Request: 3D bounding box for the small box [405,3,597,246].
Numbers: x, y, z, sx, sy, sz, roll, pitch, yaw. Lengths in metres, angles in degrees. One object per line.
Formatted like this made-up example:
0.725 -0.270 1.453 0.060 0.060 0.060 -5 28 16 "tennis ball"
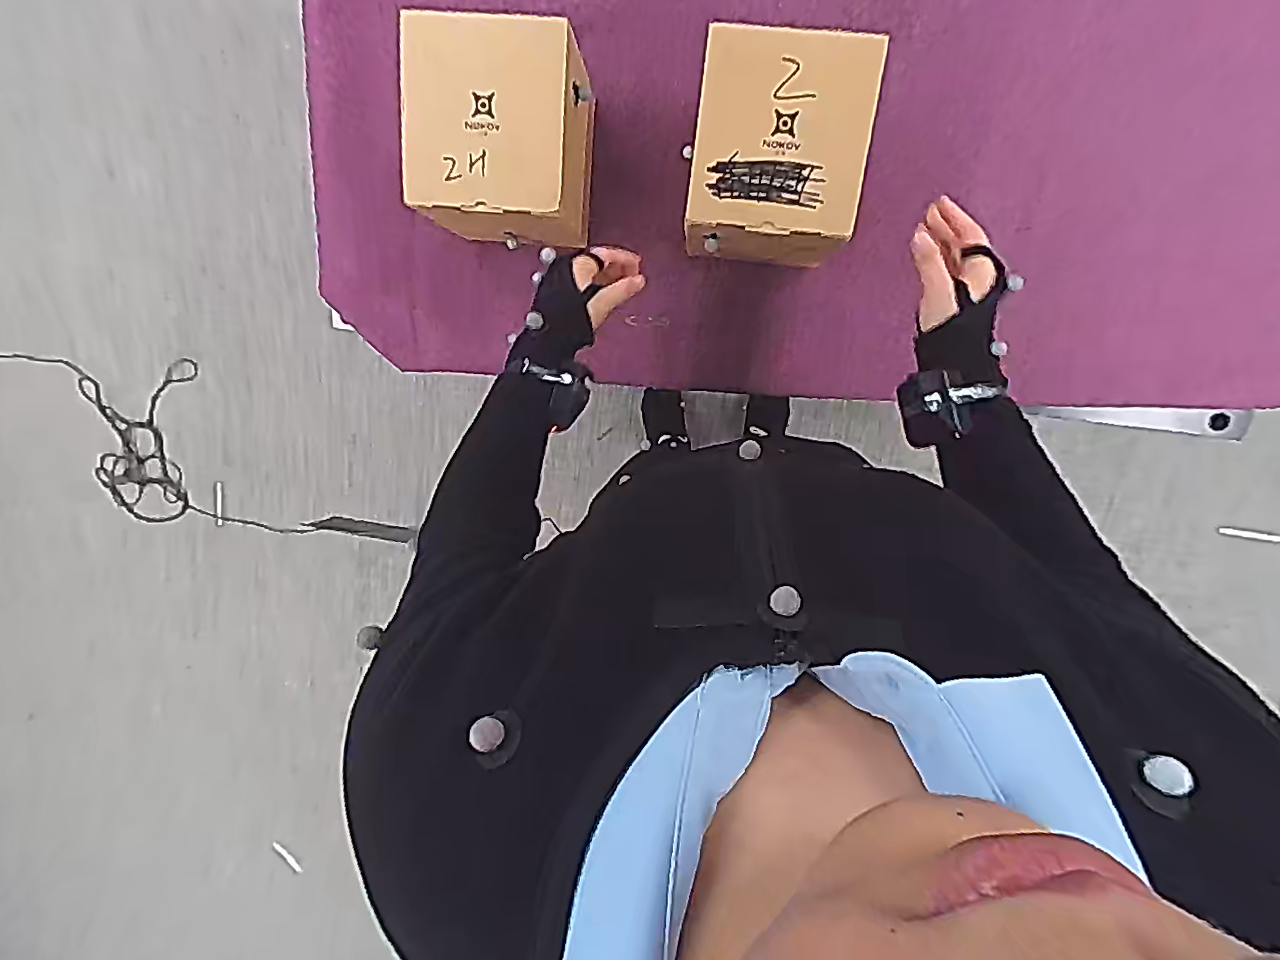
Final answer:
-0.143 -0.376 0.603 0.168 0.176 0.179 5 103 3 "small box"
